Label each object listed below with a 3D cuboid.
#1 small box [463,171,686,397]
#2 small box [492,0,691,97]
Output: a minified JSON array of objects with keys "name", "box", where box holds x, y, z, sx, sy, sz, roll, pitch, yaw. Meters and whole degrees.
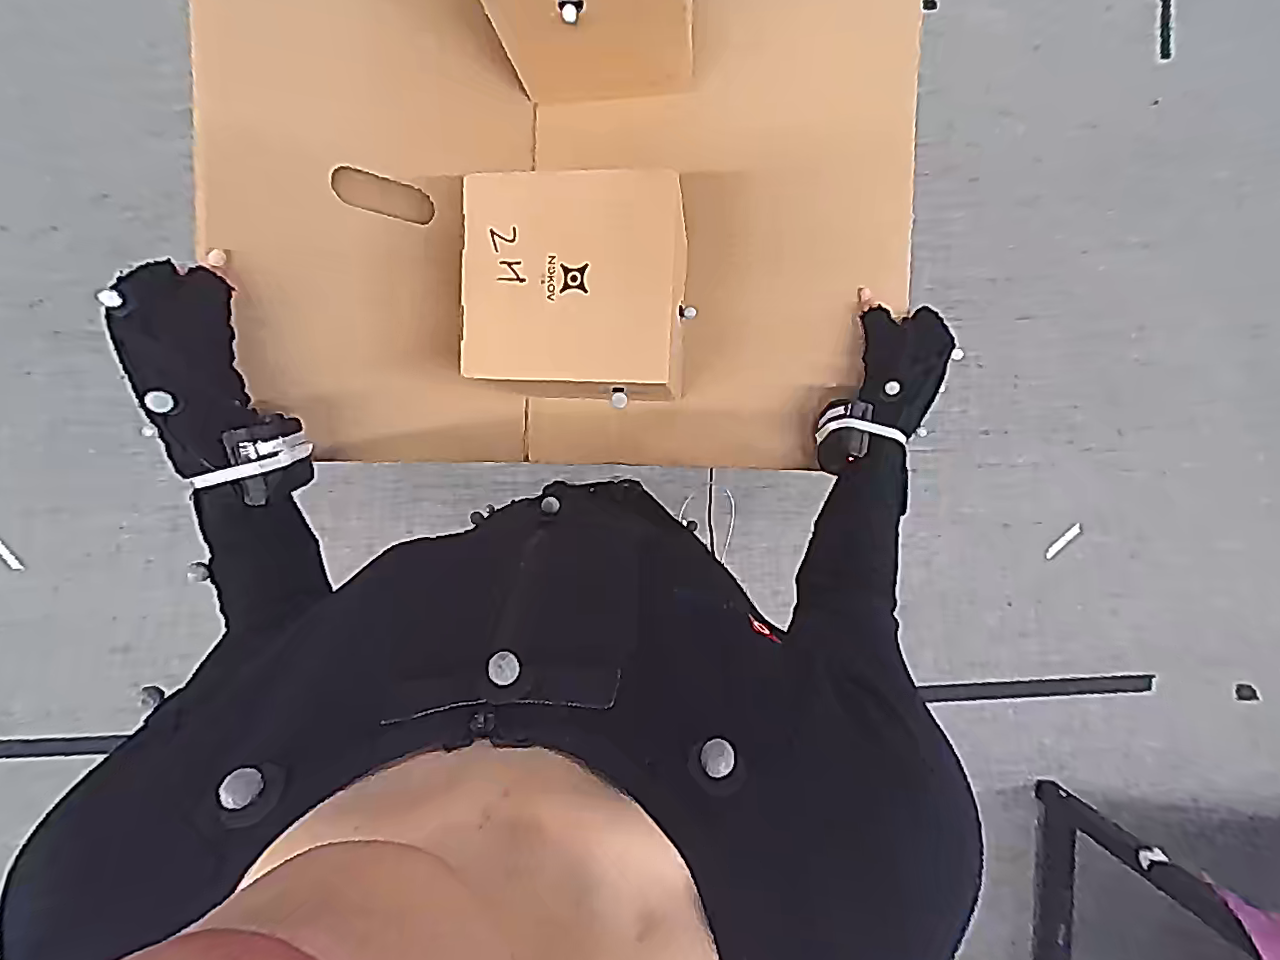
[{"name":"small box","box":[-0.049,-0.172,0.520,0.179,0.176,0.168,4,94,8]},{"name":"small box","box":[-0.044,-0.491,0.502,0.179,0.176,0.168,1,93,7]}]
